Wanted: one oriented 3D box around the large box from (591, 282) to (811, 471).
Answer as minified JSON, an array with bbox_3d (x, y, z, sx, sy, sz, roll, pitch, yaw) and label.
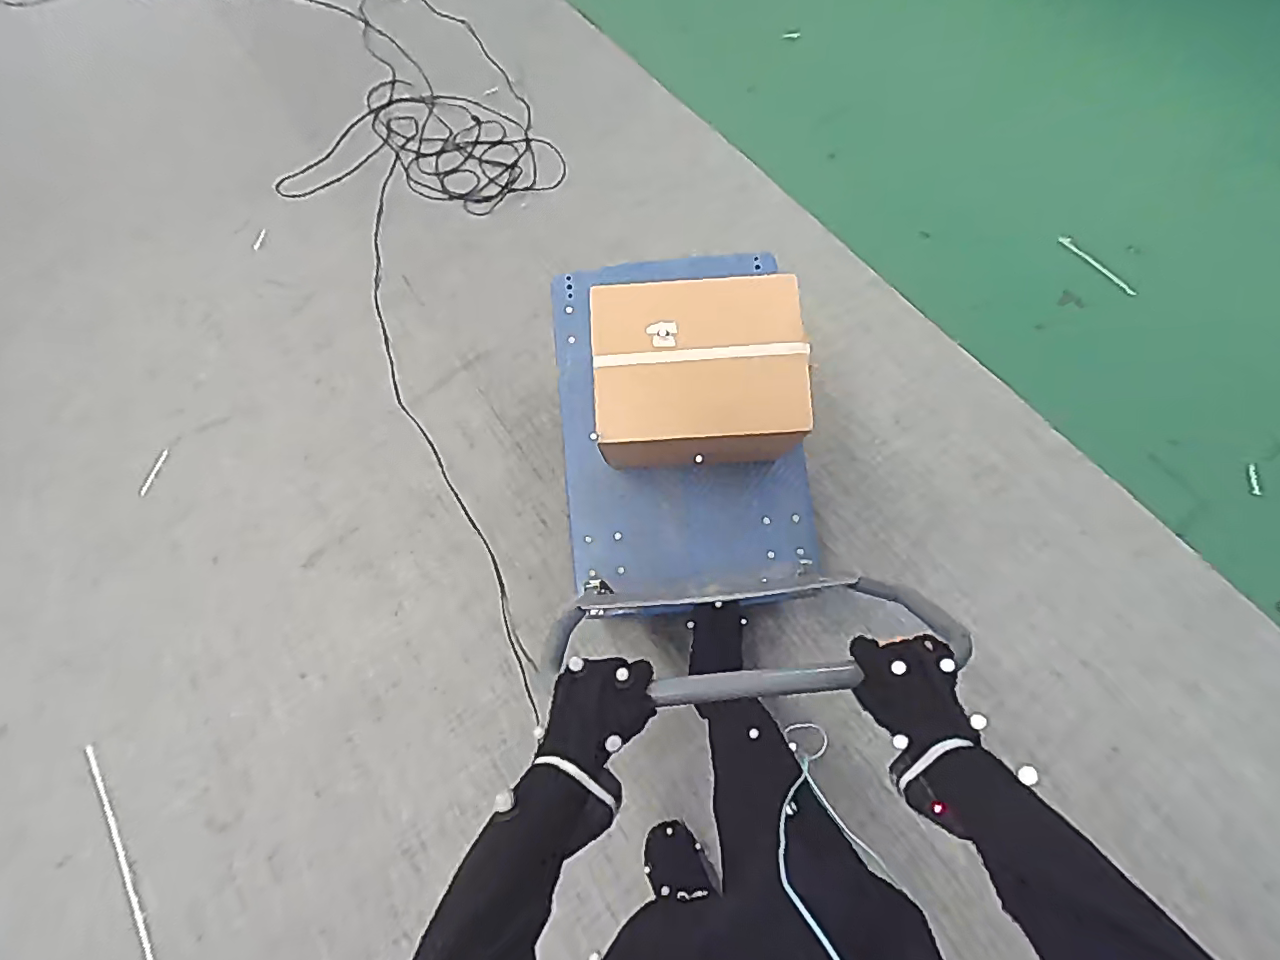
[{"bbox_3d":[0.119,-0.199,1.173,0.408,0.320,0.320,-3,82,2],"label":"large box"}]
